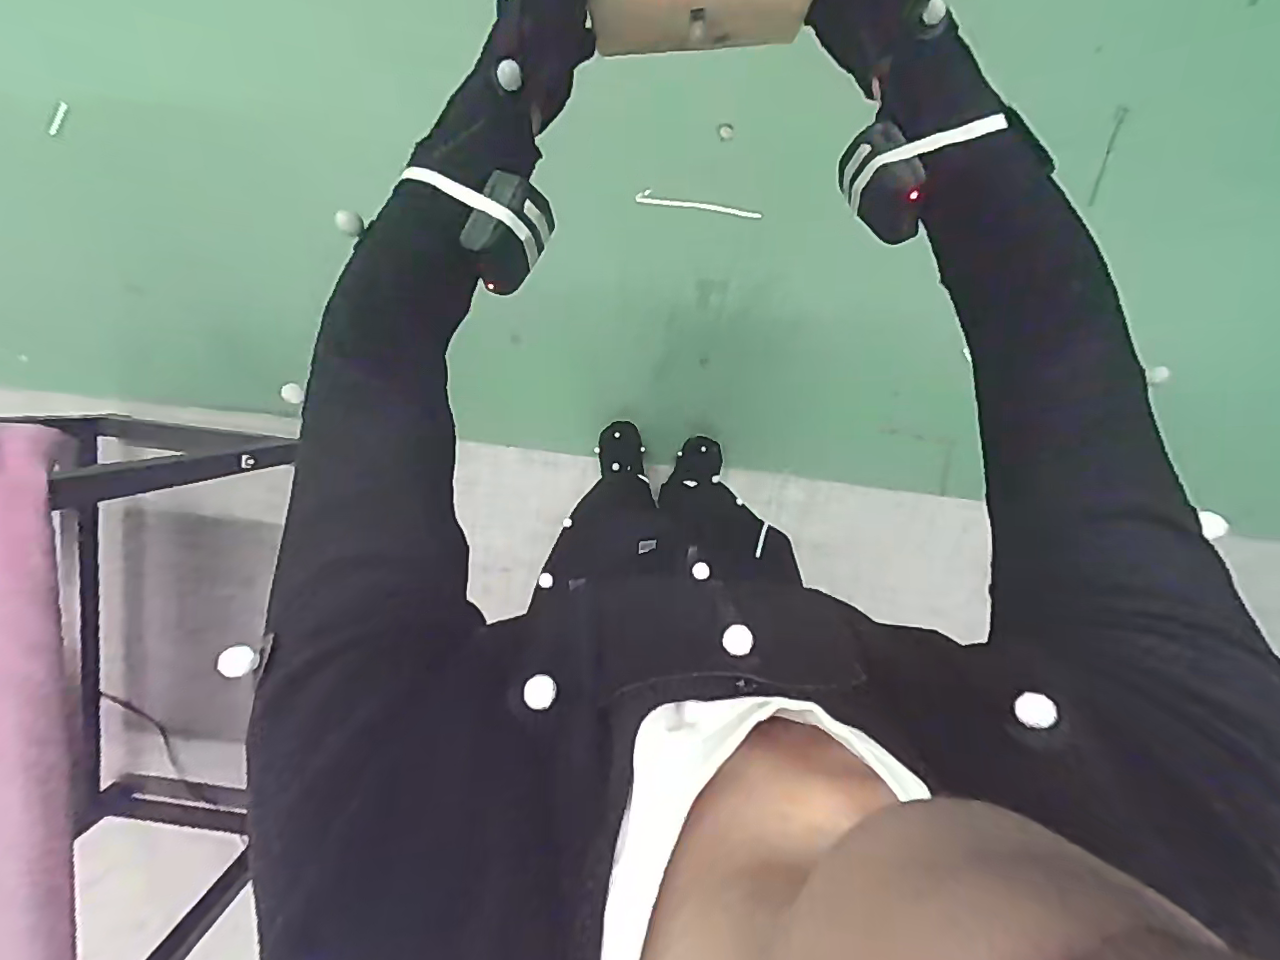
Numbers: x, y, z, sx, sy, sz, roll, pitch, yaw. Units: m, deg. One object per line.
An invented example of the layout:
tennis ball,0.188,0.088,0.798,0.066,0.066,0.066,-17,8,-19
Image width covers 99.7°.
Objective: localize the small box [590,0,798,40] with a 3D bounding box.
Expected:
small box,0.036,-0.425,0.343,0.168,0.176,0.179,-1,107,3
